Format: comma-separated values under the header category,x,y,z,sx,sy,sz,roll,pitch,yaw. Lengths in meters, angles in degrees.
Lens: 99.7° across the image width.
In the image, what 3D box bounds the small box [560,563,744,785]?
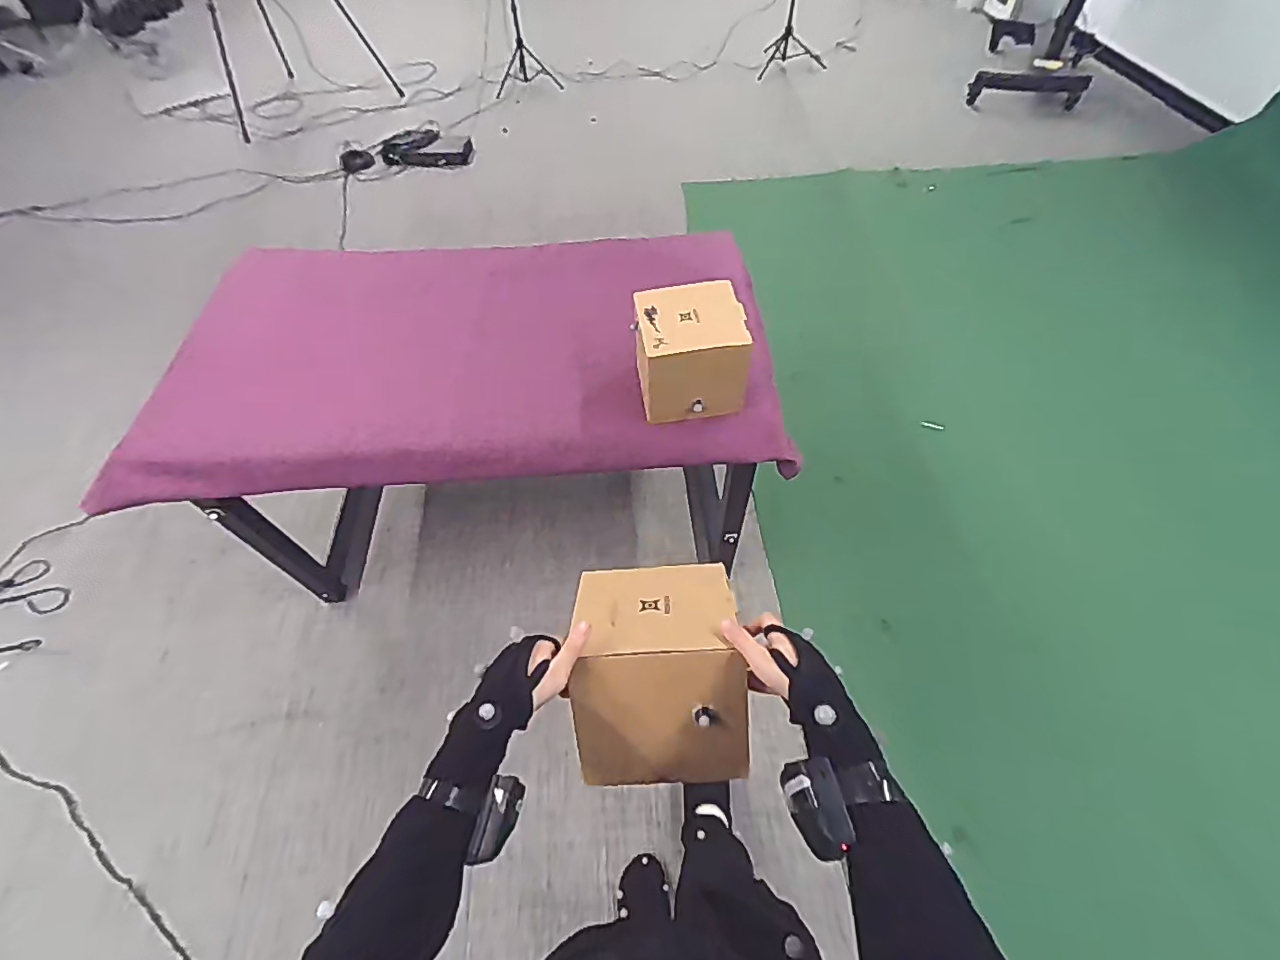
category,x,y,z,sx,sy,sz,roll,pitch,yaw
small box,0.019,0.211,0.608,0.179,0.176,0.168,-5,19,3

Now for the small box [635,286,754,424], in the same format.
category,x,y,z,sx,sy,sz,roll,pitch,yaw
small box,0.088,-0.219,0.966,0.179,0.176,0.168,-7,55,-3
